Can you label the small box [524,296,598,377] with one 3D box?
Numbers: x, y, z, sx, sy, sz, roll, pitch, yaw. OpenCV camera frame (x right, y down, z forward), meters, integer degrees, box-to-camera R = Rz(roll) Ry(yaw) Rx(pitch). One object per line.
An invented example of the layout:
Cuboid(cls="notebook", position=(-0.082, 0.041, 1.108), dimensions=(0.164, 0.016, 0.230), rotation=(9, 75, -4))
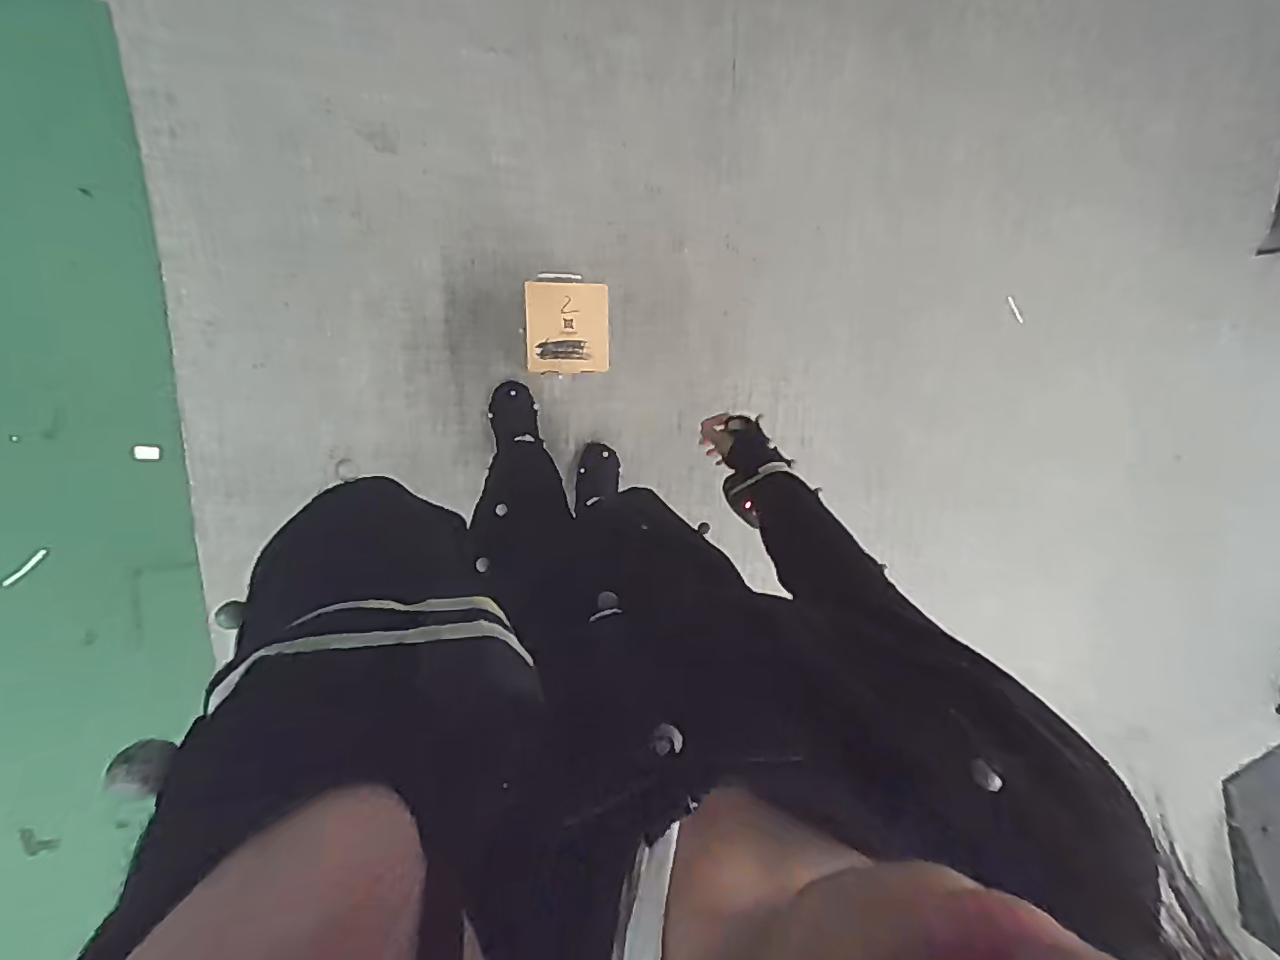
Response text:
Cuboid(cls="small box", position=(-0.196, -0.342, 1.314), dimensions=(0.168, 0.176, 0.179), rotation=(-2, 102, -12))
